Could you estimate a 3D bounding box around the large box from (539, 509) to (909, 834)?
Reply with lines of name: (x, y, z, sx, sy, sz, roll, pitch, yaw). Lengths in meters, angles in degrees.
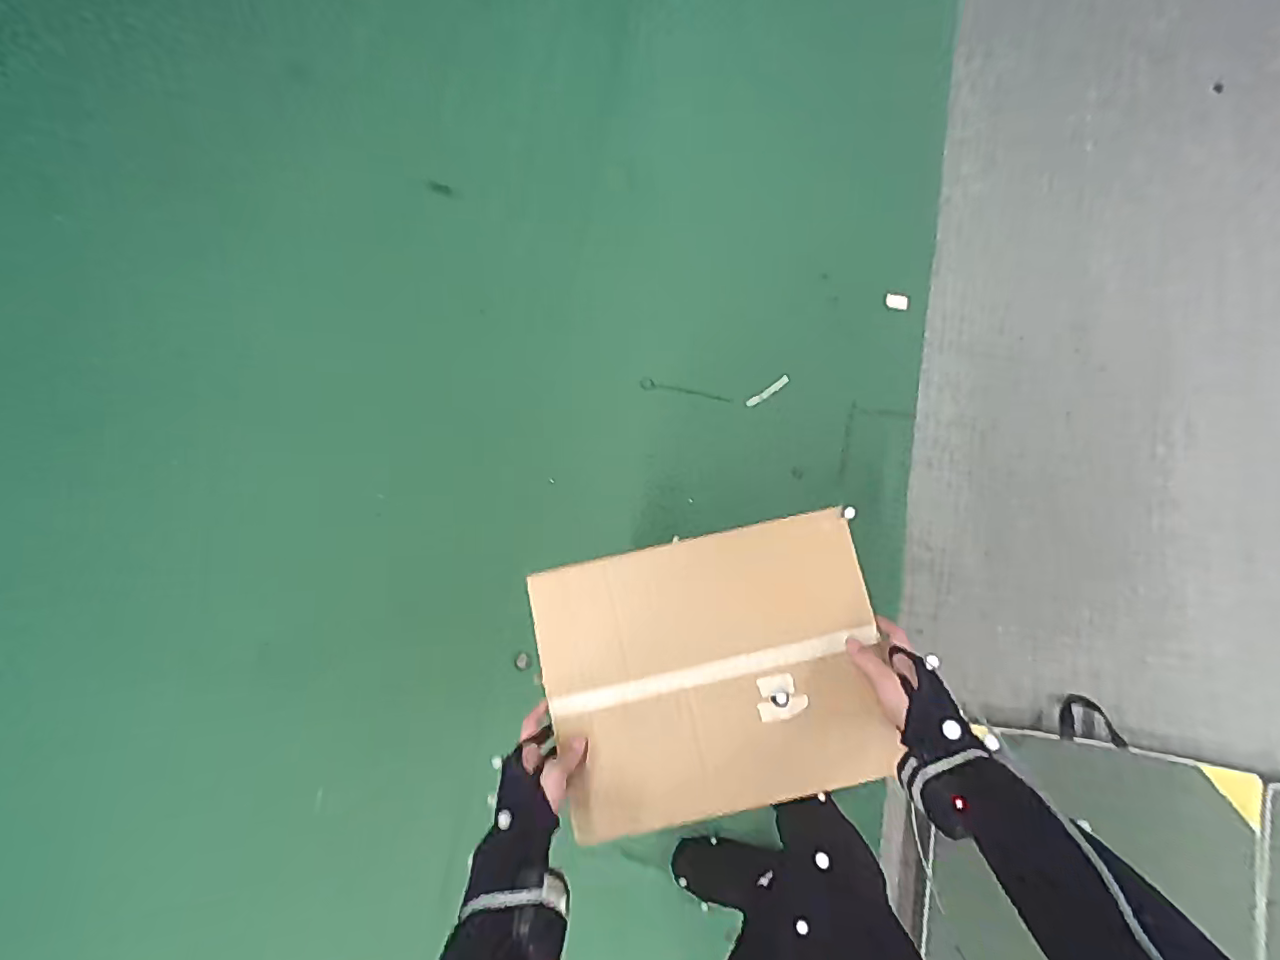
large box: (0.098, 0.257, 0.808, 0.408, 0.320, 0.320, -12, 79, -1)
